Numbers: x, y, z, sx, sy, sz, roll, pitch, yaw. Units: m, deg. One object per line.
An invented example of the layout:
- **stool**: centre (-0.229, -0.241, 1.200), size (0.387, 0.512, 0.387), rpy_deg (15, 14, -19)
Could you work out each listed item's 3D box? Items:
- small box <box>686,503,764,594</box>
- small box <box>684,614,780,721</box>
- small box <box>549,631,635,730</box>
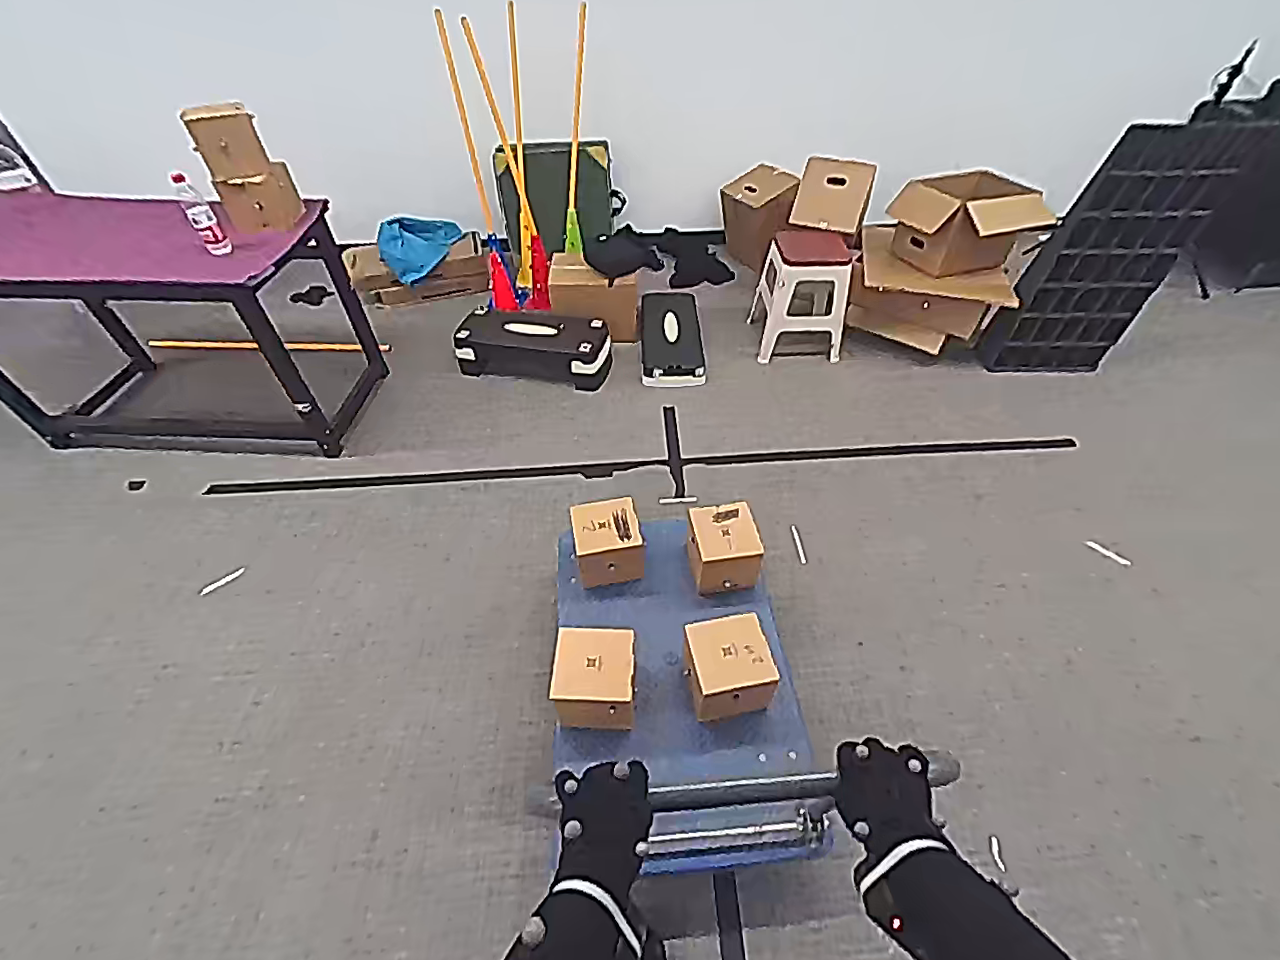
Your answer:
- **small box**: centre (0.223, 0.188, 1.479), size (0.168, 0.176, 0.179), rpy_deg (-7, 49, -5)
- **small box**: centre (0.203, 0.438, 1.252), size (0.179, 0.176, 0.168), rpy_deg (-9, 48, -7)
- **small box**: centre (-0.101, 0.461, 1.236), size (0.179, 0.176, 0.168), rpy_deg (1, 47, 0)
